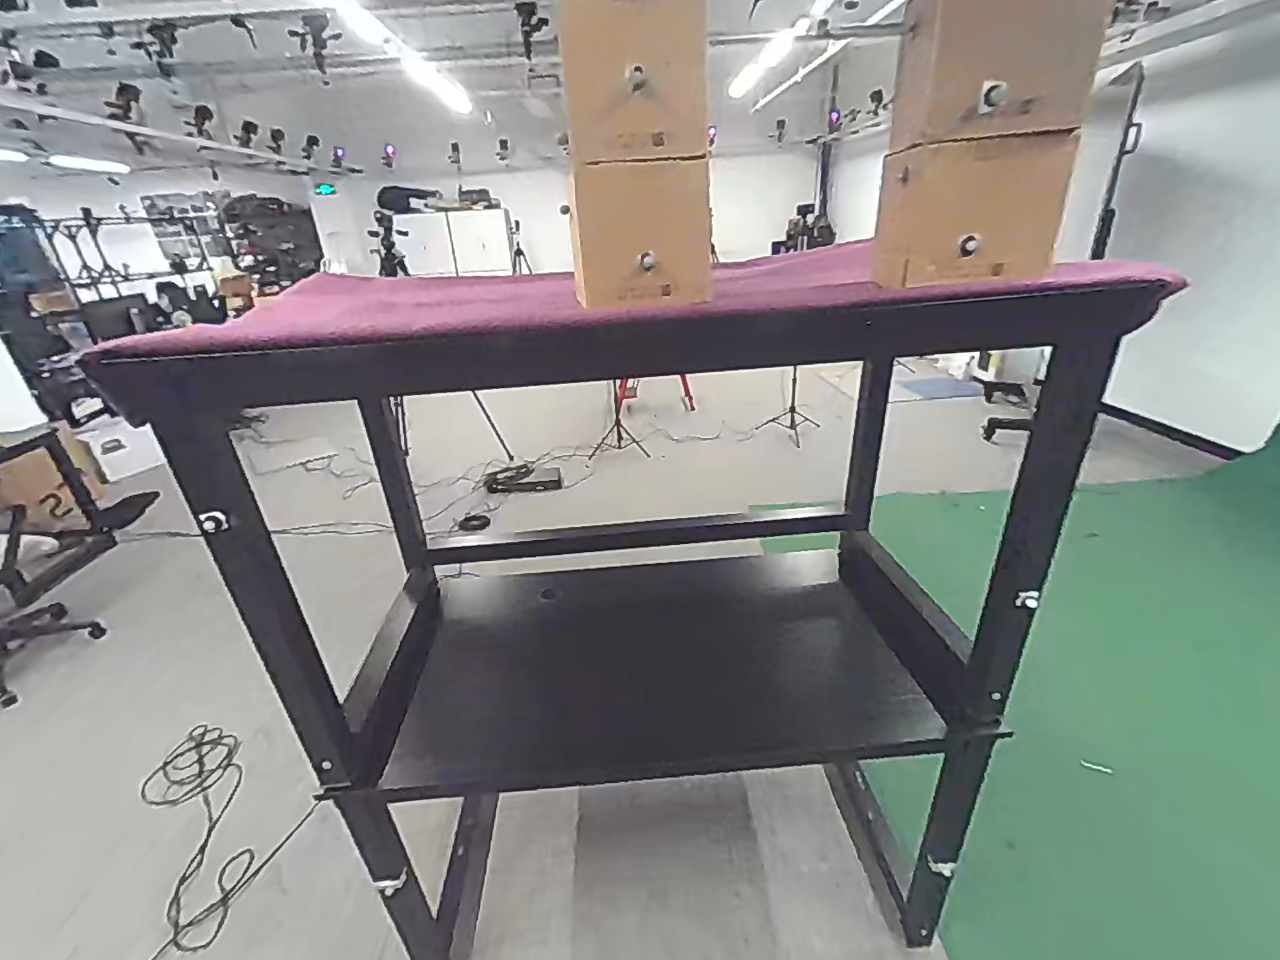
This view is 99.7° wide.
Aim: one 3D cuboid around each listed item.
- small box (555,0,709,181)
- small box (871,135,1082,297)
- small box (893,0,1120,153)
[{"bbox_3d":[-0.010,-0.479,0.673,0.168,0.176,0.179,-5,26,-4],"label":"small box"},{"bbox_3d":[0.414,-0.338,0.705,0.168,0.176,0.179,0,27,8],"label":"small box"},{"bbox_3d":[0.404,-0.479,0.626,0.168,0.176,0.179,0,28,12],"label":"small box"}]
